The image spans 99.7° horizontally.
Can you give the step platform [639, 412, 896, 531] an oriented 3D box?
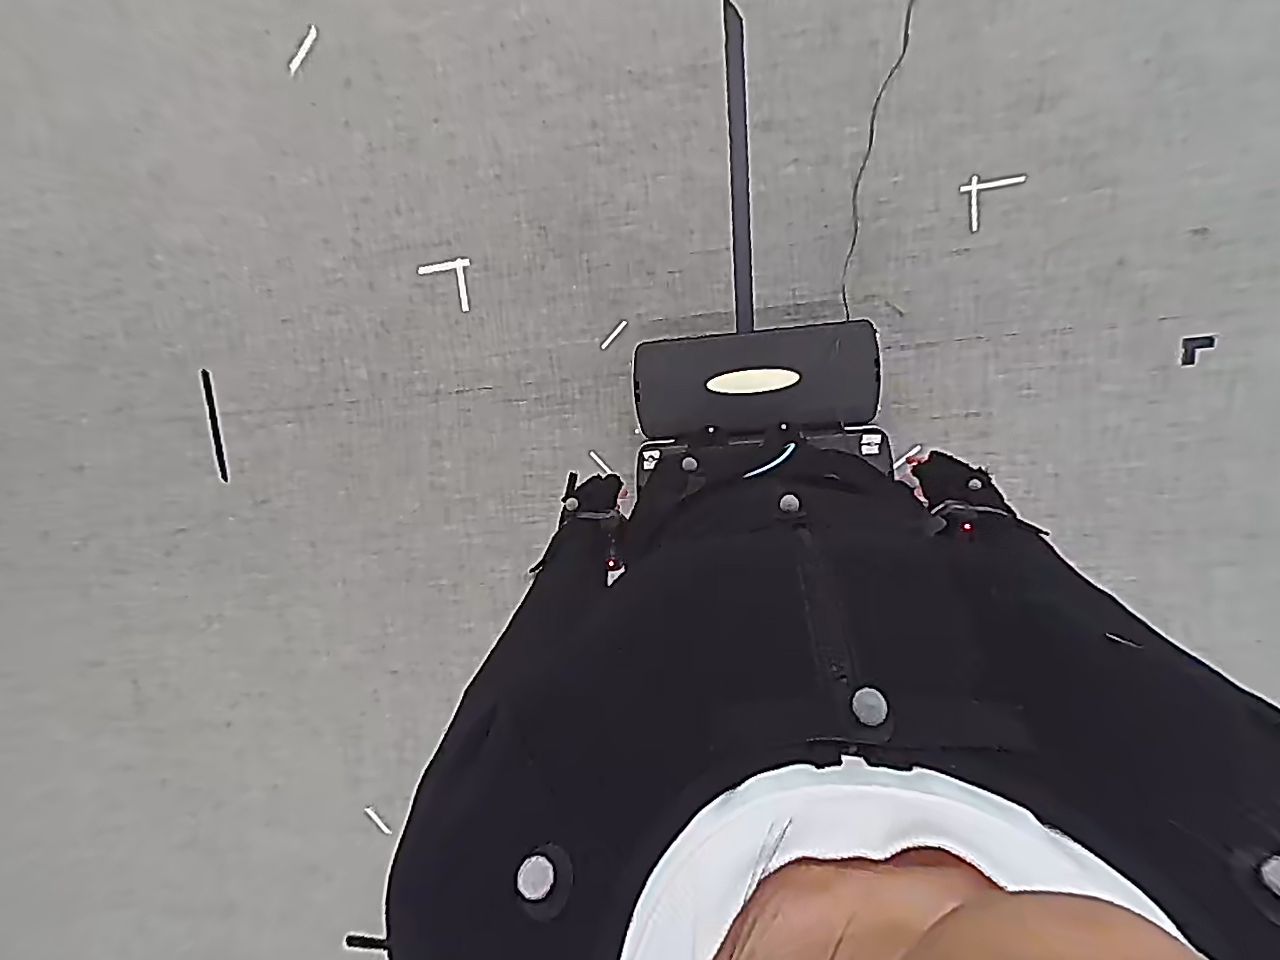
[{"bbox_3d":[0.339,-0.020,1.512,0.684,0.204,0.286,-4,96,11],"label":"step platform"}]
